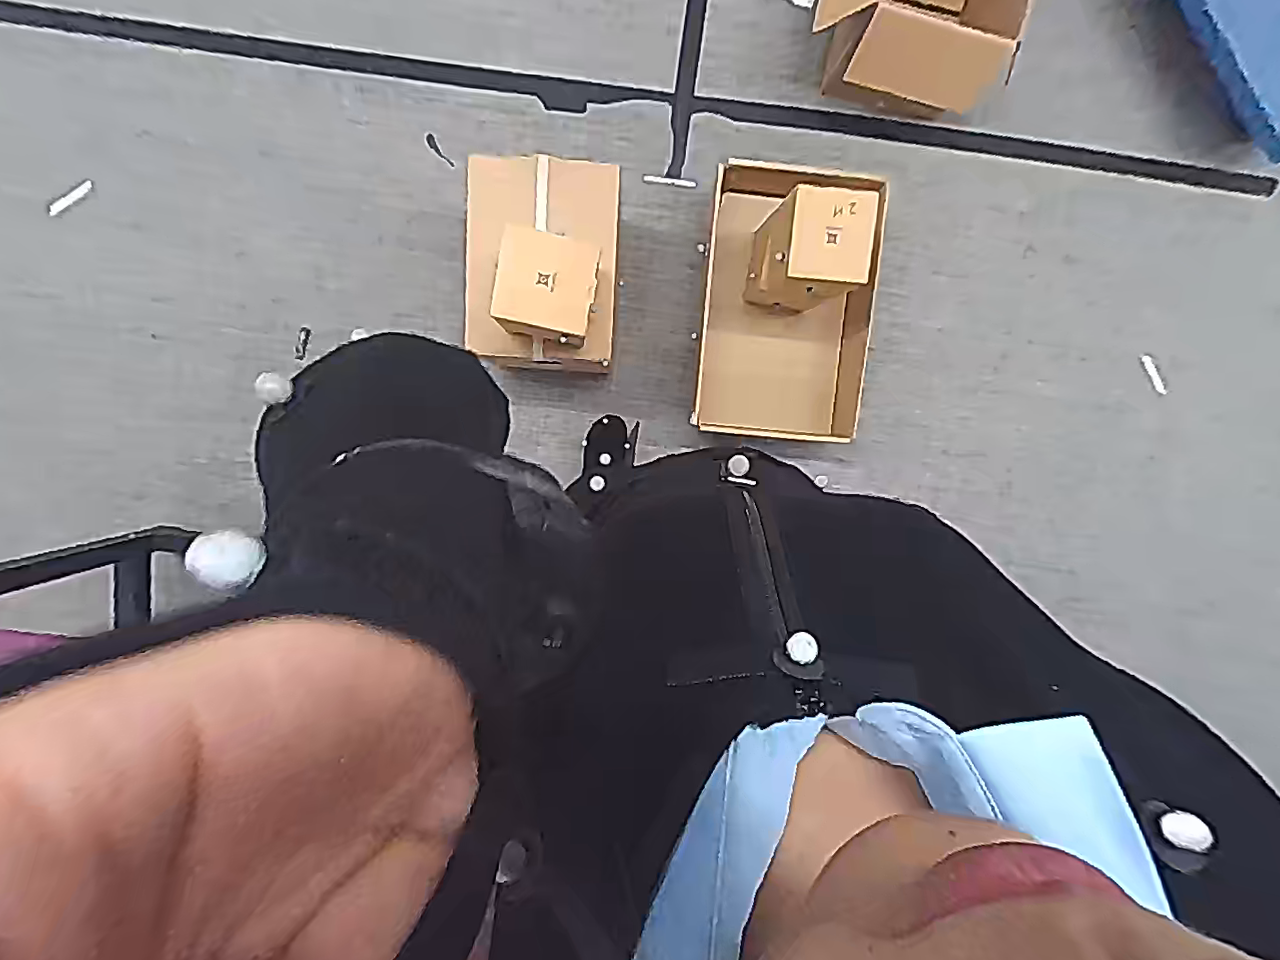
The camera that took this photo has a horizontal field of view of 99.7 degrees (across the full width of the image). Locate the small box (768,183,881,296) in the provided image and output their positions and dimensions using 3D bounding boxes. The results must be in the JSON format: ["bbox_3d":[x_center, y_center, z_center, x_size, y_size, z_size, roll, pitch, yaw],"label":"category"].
[{"bbox_3d":[0.378,-0.494,1.139,0.168,0.176,0.179,4,98,-4],"label":"small box"}]

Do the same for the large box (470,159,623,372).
[{"bbox_3d":[-0.203,-0.473,1.272,0.320,0.320,0.408,3,98,-1],"label":"large box"}]
